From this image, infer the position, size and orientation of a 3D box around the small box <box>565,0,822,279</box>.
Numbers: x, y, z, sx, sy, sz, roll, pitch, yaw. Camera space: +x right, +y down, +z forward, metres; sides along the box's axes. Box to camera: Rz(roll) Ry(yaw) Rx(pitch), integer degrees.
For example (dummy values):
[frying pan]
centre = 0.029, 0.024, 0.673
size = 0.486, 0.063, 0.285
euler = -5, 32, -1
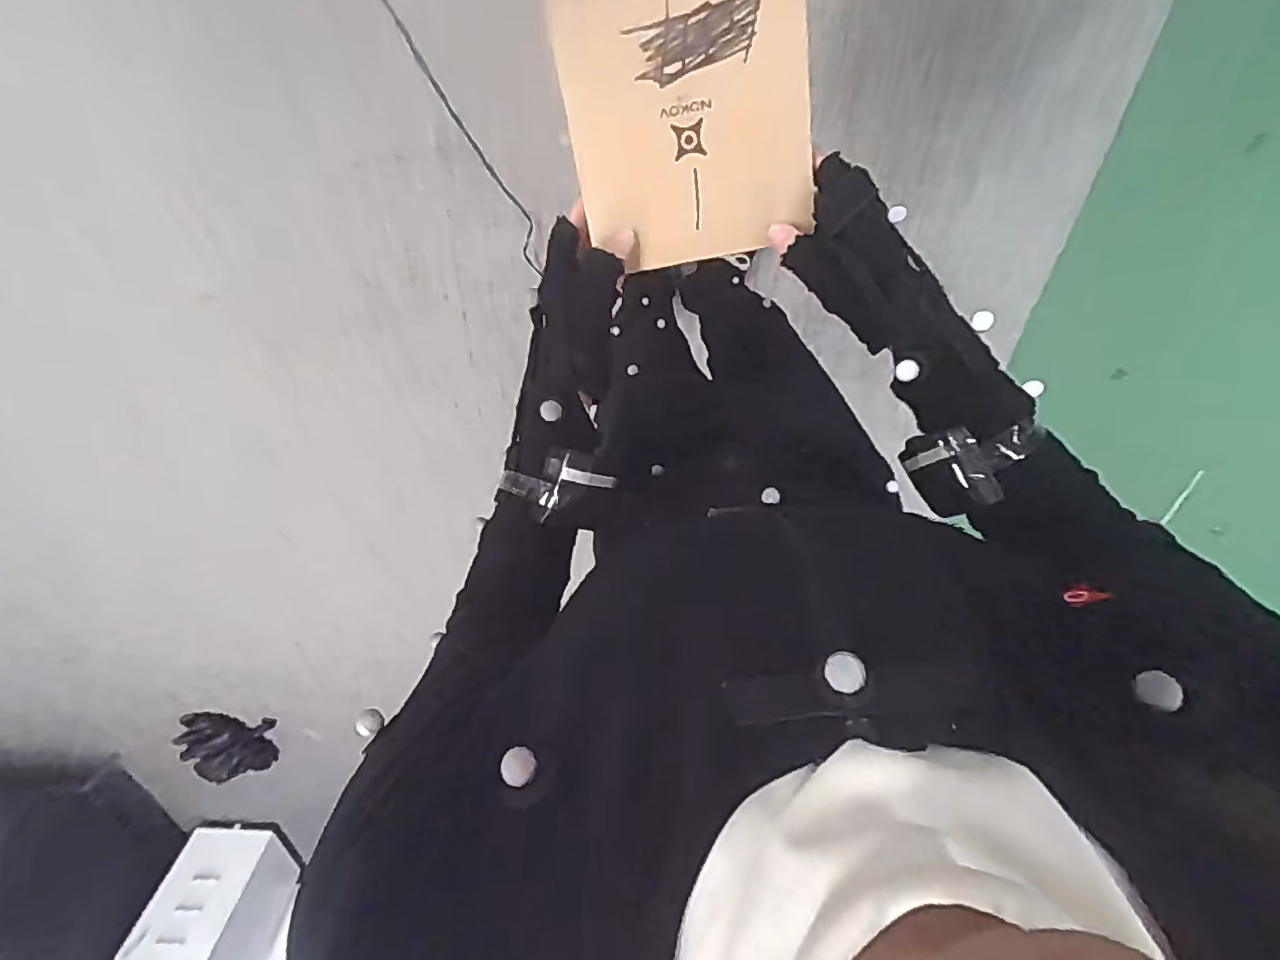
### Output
[small box]
centre = 0.043, -0.274, 0.452
size = 0.168, 0.176, 0.179
euler = -9, 113, 5
